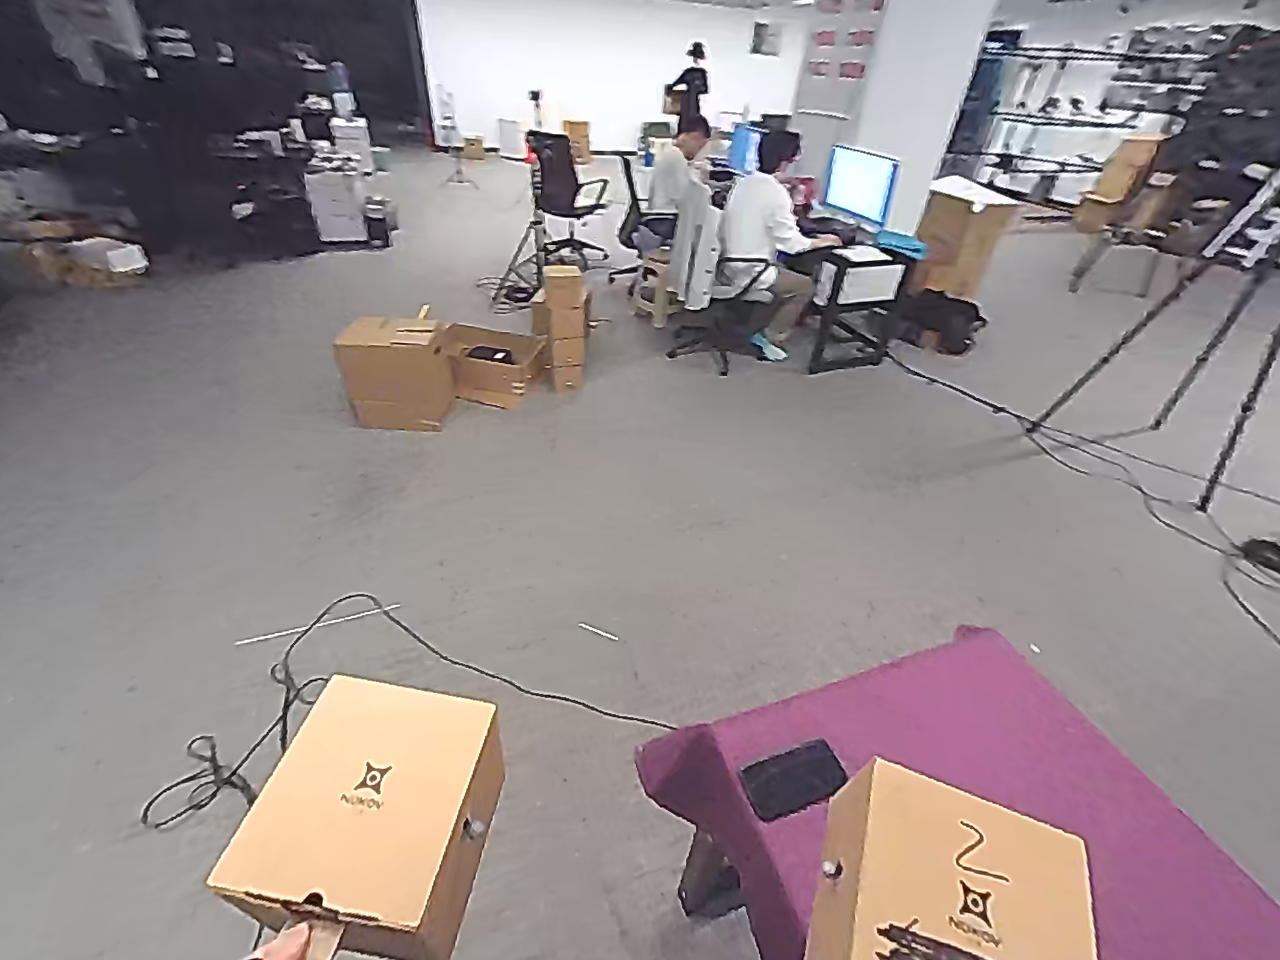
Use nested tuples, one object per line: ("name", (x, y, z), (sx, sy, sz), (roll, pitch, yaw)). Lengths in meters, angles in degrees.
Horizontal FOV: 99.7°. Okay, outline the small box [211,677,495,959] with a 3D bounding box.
("small box", (-0.246, 0.323, 0.521), (0.168, 0.176, 0.179), (10, 42, 1))
